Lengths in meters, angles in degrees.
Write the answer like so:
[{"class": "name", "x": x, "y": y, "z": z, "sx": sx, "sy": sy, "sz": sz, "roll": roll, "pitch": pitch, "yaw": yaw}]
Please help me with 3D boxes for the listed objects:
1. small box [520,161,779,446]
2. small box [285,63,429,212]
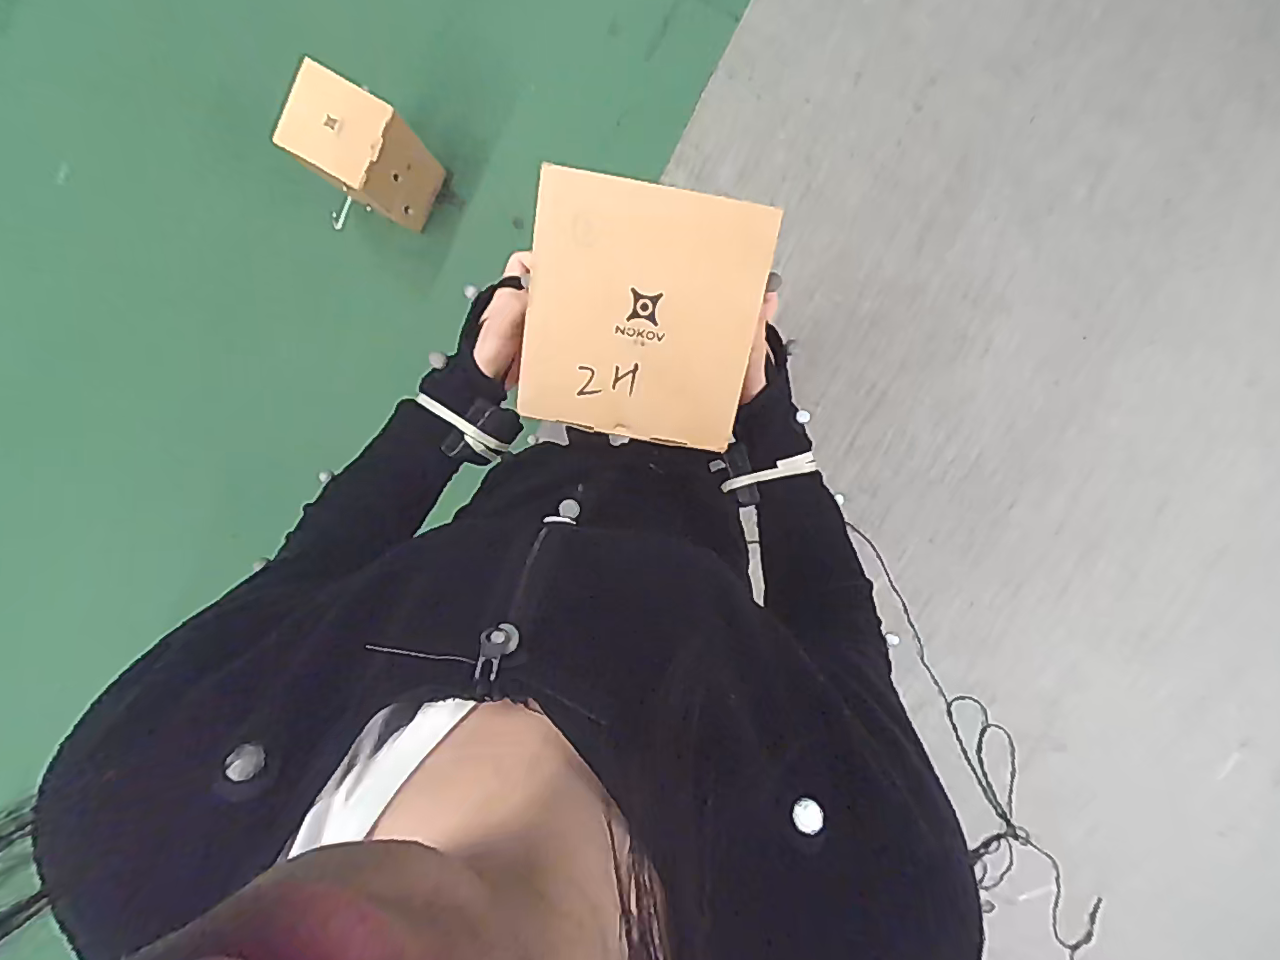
[{"class": "small box", "x": 0.005, "y": -0.146, "z": 0.468, "sx": 0.168, "sy": 0.176, "sz": 0.179, "roll": 10, "pitch": 109, "yaw": 0}, {"class": "small box", "x": -0.565, "y": -0.681, "z": 1.102, "sx": 0.179, "sy": 0.176, "sz": 0.168, "roll": 27, "pitch": 98, "yaw": -7}]
